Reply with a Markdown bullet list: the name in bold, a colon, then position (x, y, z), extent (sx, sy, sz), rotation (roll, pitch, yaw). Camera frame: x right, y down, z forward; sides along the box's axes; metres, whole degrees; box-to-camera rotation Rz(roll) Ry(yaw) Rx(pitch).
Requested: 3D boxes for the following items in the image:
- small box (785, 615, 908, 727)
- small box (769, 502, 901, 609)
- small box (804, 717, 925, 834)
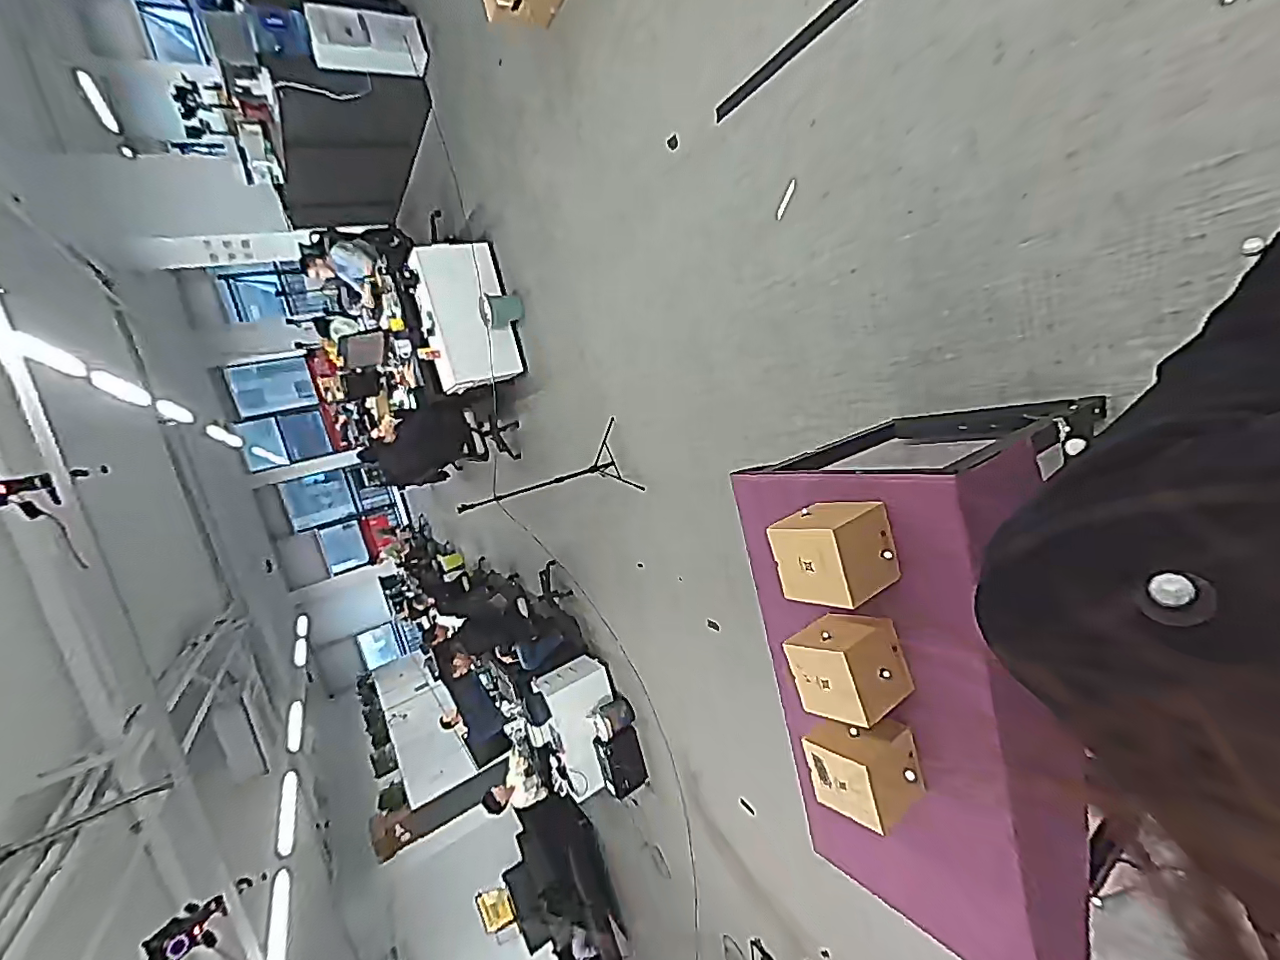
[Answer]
- **small box**: position (0.460, 0.409, 1.194), extent (0.179, 0.176, 0.168), rotation (-17, 91, 61)
- **small box**: position (0.407, 0.149, 1.133), extent (0.179, 0.176, 0.168), rotation (-6, 103, 60)
- **small box**: position (0.515, 0.652, 1.243), extent (0.179, 0.176, 0.168), rotation (-7, 101, 59)
